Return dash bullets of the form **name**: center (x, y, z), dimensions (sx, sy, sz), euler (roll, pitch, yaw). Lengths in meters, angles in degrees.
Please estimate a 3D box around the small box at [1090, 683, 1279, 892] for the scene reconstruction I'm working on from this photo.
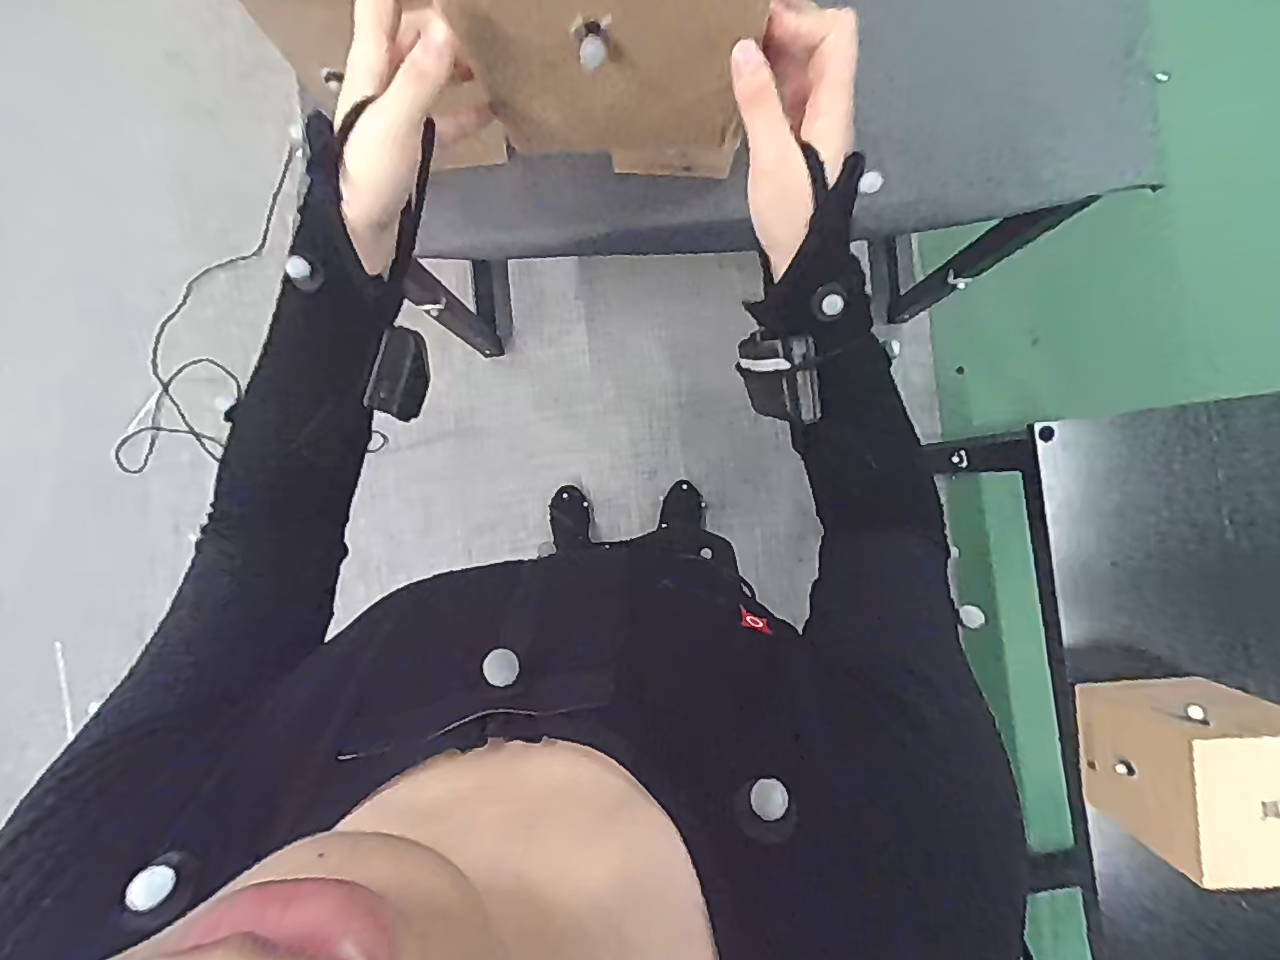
- **small box**: center (0.699, 0.363, 0.666), dimensions (0.179, 0.176, 0.168), euler (-4, 90, 2)

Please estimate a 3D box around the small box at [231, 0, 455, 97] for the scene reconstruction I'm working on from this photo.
- **small box**: center (-0.298, -0.522, 0.538), dimensions (0.168, 0.176, 0.179), euler (-11, 86, 1)

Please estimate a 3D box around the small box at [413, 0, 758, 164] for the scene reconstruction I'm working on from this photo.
- **small box**: center (-0.021, -0.323, 0.339), dimensions (0.179, 0.176, 0.168), euler (1, 95, 5)

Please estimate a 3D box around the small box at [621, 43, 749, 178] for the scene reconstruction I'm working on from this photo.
- **small box**: center (0.048, -0.516, 0.691), dimensions (0.168, 0.176, 0.179), euler (3, 89, 2)

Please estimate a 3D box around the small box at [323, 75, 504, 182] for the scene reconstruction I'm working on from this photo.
- **small box**: center (-0.284, -0.520, 0.702), dimensions (0.179, 0.176, 0.168), euler (-7, 87, 2)
